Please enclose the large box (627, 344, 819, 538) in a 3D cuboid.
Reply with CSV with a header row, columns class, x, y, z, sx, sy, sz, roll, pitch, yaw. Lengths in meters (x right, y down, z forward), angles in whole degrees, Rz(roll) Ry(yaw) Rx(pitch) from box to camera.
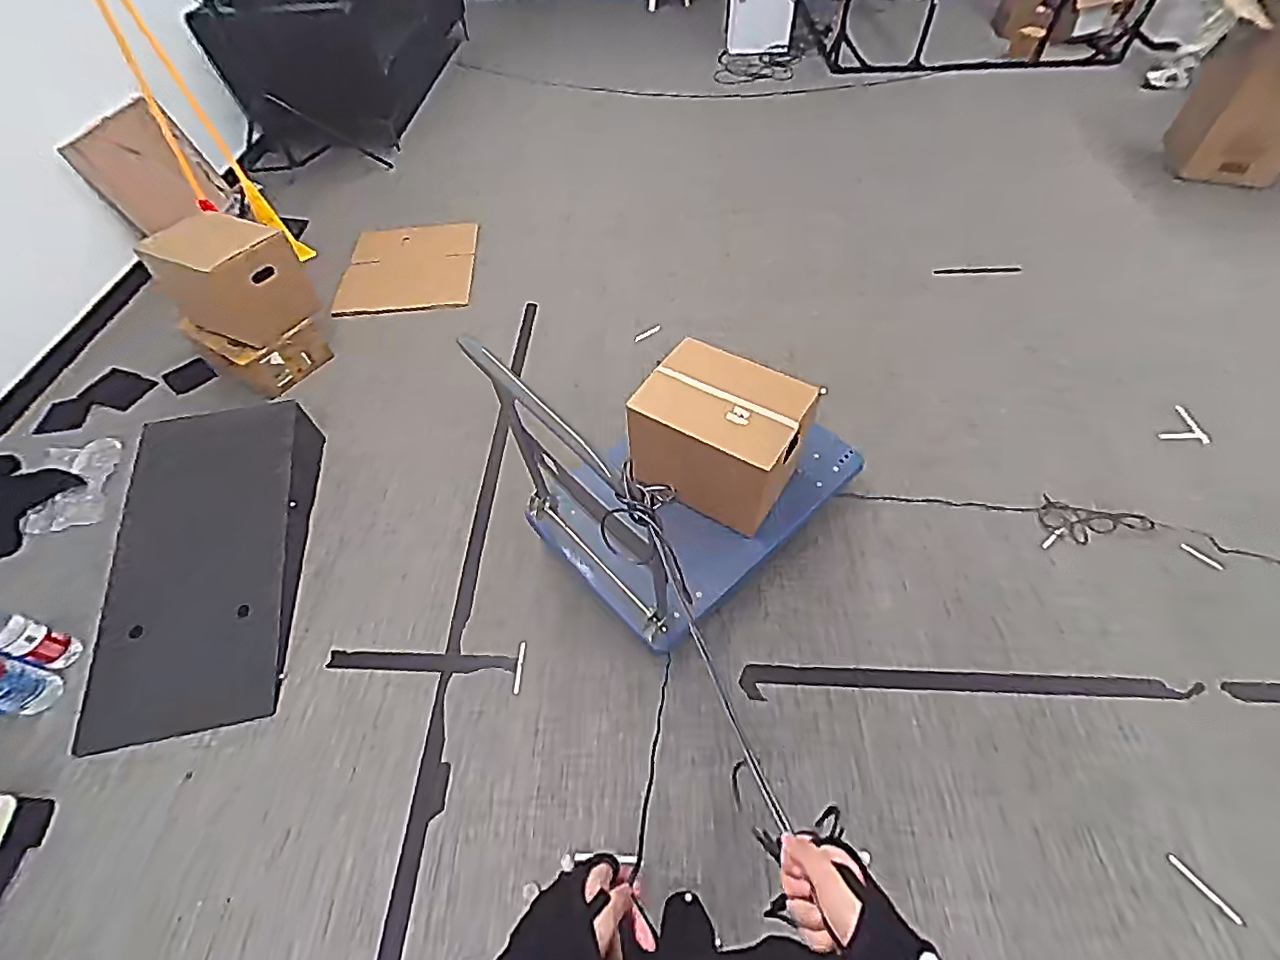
class,x,y,z,sx,sy,sz,roll,pitch,yaw
large box,0.212,-0.110,1.491,0.408,0.320,0.320,27,60,20
